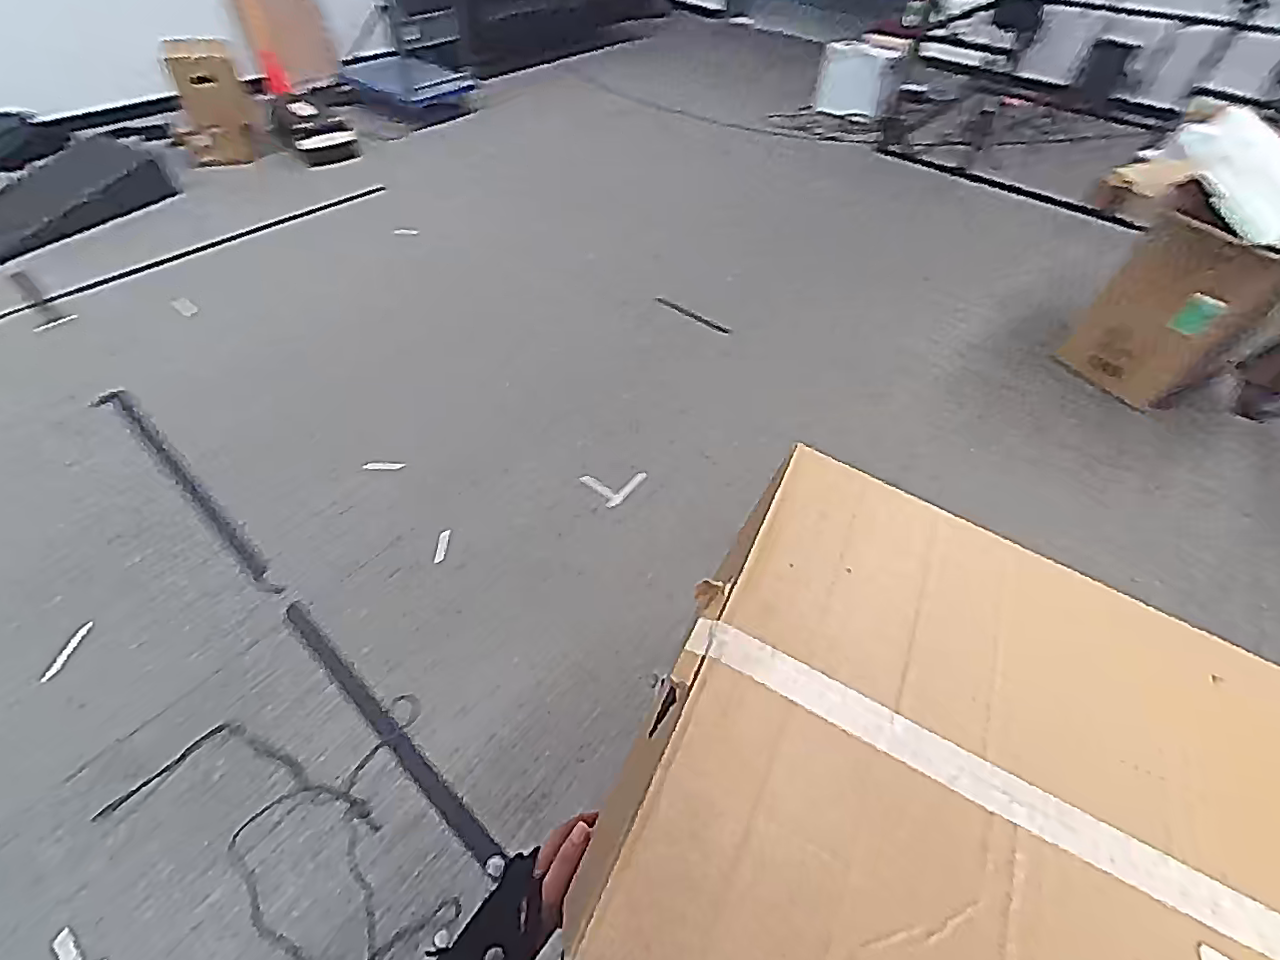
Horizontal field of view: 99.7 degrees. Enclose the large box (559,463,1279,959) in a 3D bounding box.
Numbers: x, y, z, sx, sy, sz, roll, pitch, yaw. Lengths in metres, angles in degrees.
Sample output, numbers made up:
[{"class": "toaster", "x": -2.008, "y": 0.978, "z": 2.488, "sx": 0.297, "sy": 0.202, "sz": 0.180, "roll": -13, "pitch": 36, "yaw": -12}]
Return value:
[{"class": "large box", "x": 0.189, "y": 0.258, "z": 0.398, "sx": 0.408, "sy": 0.320, "sz": 0.320, "roll": 26, "pitch": 58, "yaw": 7}]
